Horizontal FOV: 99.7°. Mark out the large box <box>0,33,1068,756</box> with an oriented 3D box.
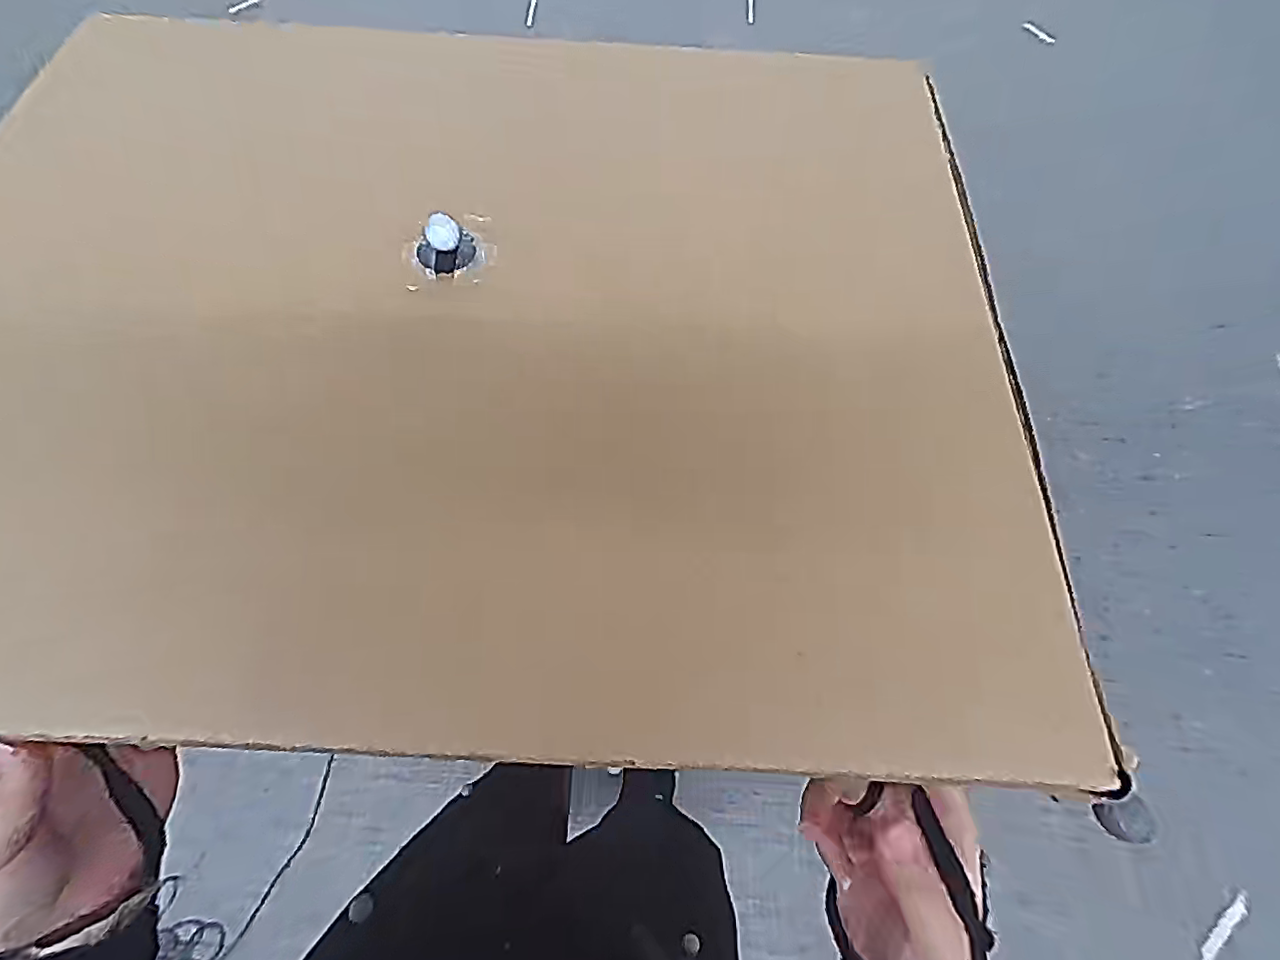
[{"bbox_3d":[-0.087,-0.016,0.334,0.408,0.320,0.320,1,67,1],"label":"large box"}]
